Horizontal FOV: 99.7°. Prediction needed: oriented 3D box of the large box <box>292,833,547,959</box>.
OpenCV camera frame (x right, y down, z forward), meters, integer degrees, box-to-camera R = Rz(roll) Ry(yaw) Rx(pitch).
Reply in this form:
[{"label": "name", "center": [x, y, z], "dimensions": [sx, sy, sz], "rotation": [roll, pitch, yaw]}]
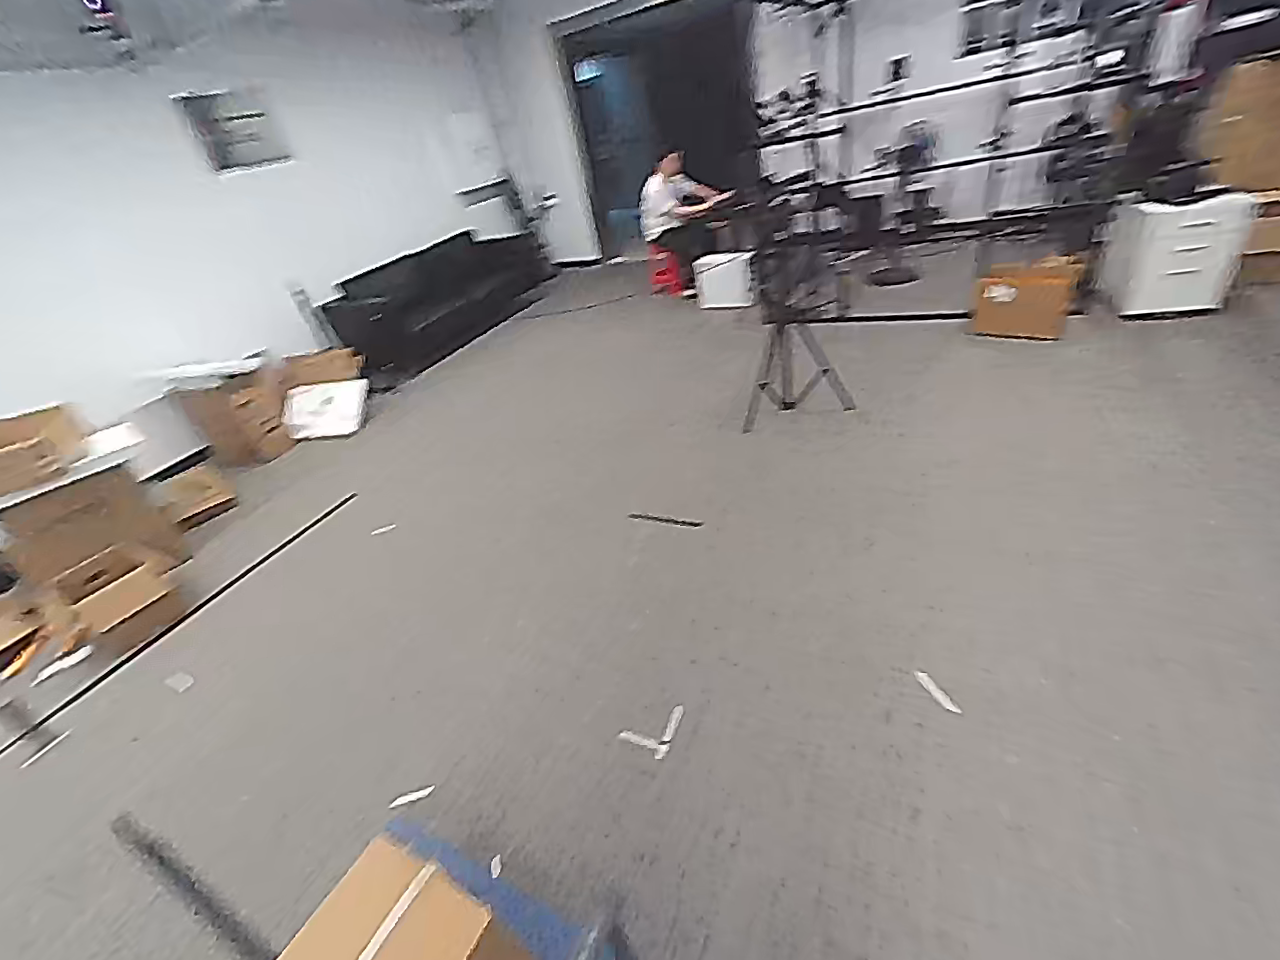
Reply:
[{"label": "large box", "center": [-0.430, 0.954, 0.957], "dimensions": [0.320, 0.320, 0.408], "rotation": [8, 40, 31]}]
